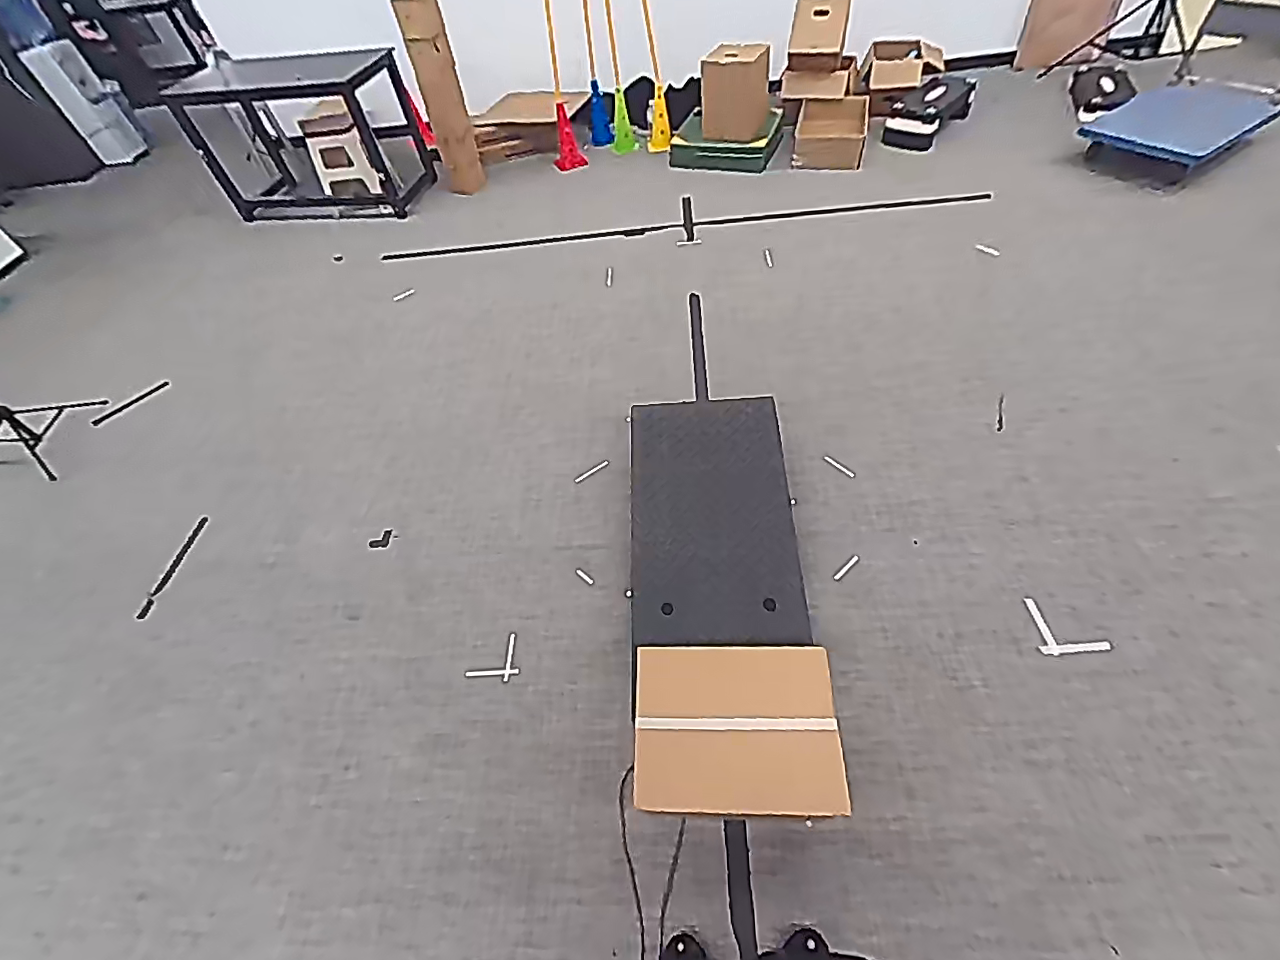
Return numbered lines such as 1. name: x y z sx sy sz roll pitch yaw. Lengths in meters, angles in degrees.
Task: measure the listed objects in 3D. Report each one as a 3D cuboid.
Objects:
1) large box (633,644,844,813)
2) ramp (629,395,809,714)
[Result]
1. large box: 0.200 0.572 1.224 0.408 0.320 0.320 -2 56 5
2. ramp: 0.212 0.165 1.629 0.509 0.206 0.991 -4 52 2
